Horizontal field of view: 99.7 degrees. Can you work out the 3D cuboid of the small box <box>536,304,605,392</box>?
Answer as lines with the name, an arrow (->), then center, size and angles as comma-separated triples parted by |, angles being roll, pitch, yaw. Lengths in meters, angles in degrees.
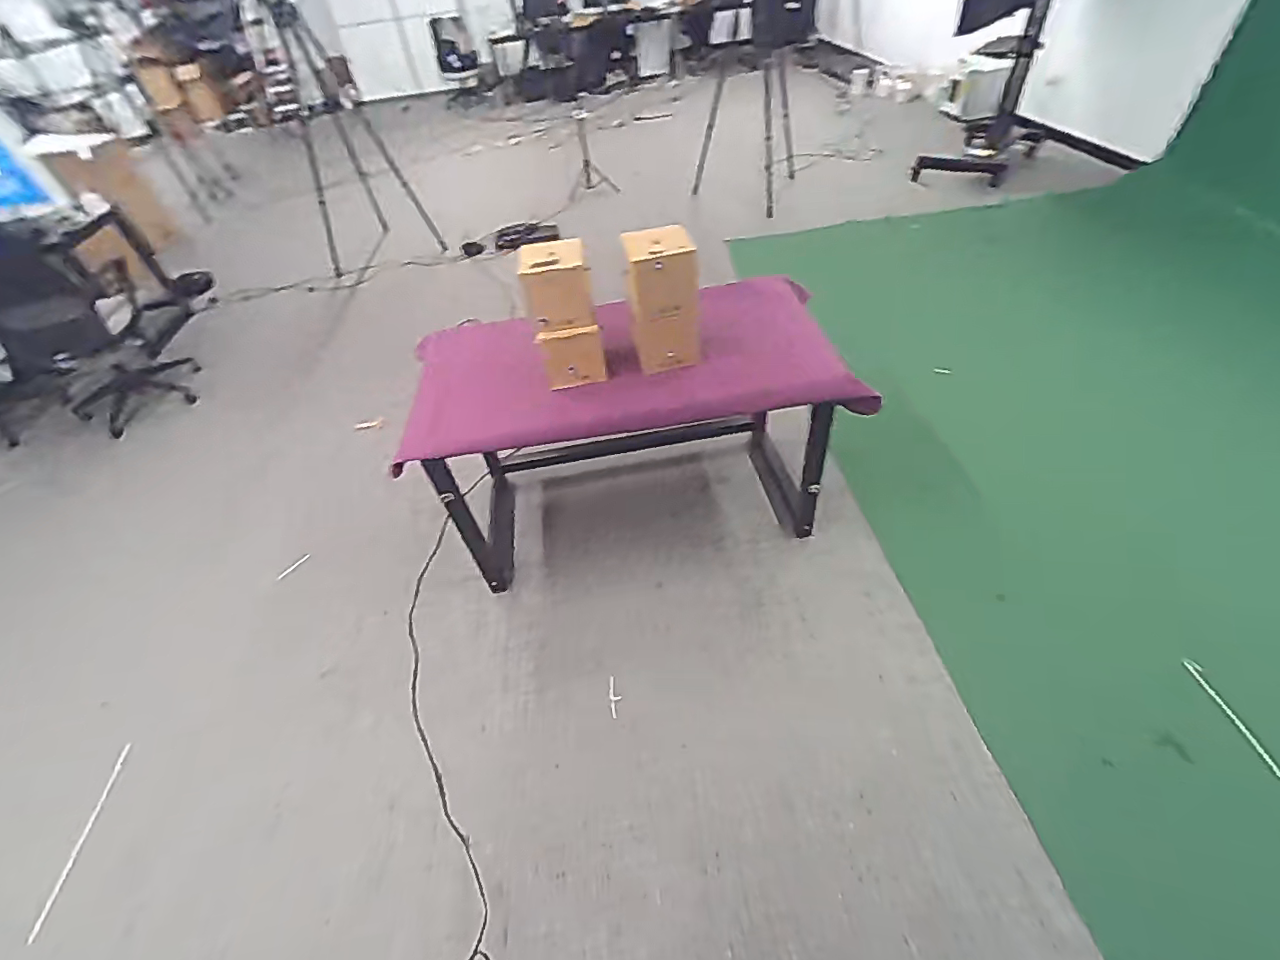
small box -> -0.198, -0.376, 1.540 | 0.168, 0.176, 0.179 | -11, 46, -3

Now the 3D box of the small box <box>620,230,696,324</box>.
small box -> 0.048, -0.537, 1.432 | 0.168, 0.176, 0.179 | -12, 45, -4

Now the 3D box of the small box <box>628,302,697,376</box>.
small box -> 0.063, -0.422, 1.548 | 0.168, 0.176, 0.179 | -12, 46, -3

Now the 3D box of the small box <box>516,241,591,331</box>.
small box -> -0.224, -0.511, 1.444 | 0.168, 0.176, 0.179 | -7, 45, 0
